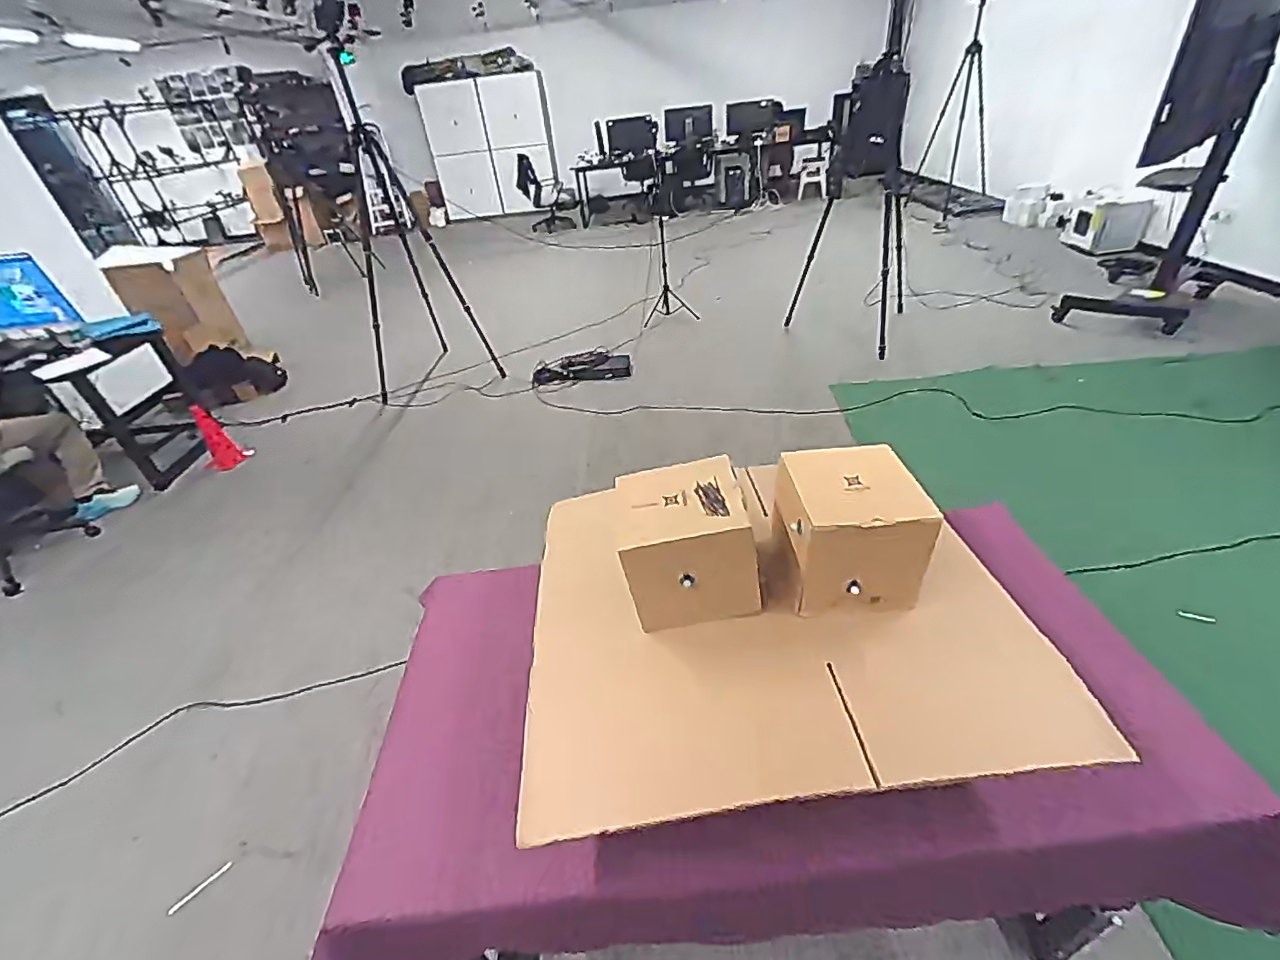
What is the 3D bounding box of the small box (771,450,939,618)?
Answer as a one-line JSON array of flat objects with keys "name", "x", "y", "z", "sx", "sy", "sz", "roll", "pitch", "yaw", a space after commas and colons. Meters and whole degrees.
[{"name": "small box", "x": 0.295, "y": 0.076, "z": 0.789, "sx": 0.168, "sy": 0.176, "sz": 0.179, "roll": -5, "pitch": 37, "yaw": 0}]
